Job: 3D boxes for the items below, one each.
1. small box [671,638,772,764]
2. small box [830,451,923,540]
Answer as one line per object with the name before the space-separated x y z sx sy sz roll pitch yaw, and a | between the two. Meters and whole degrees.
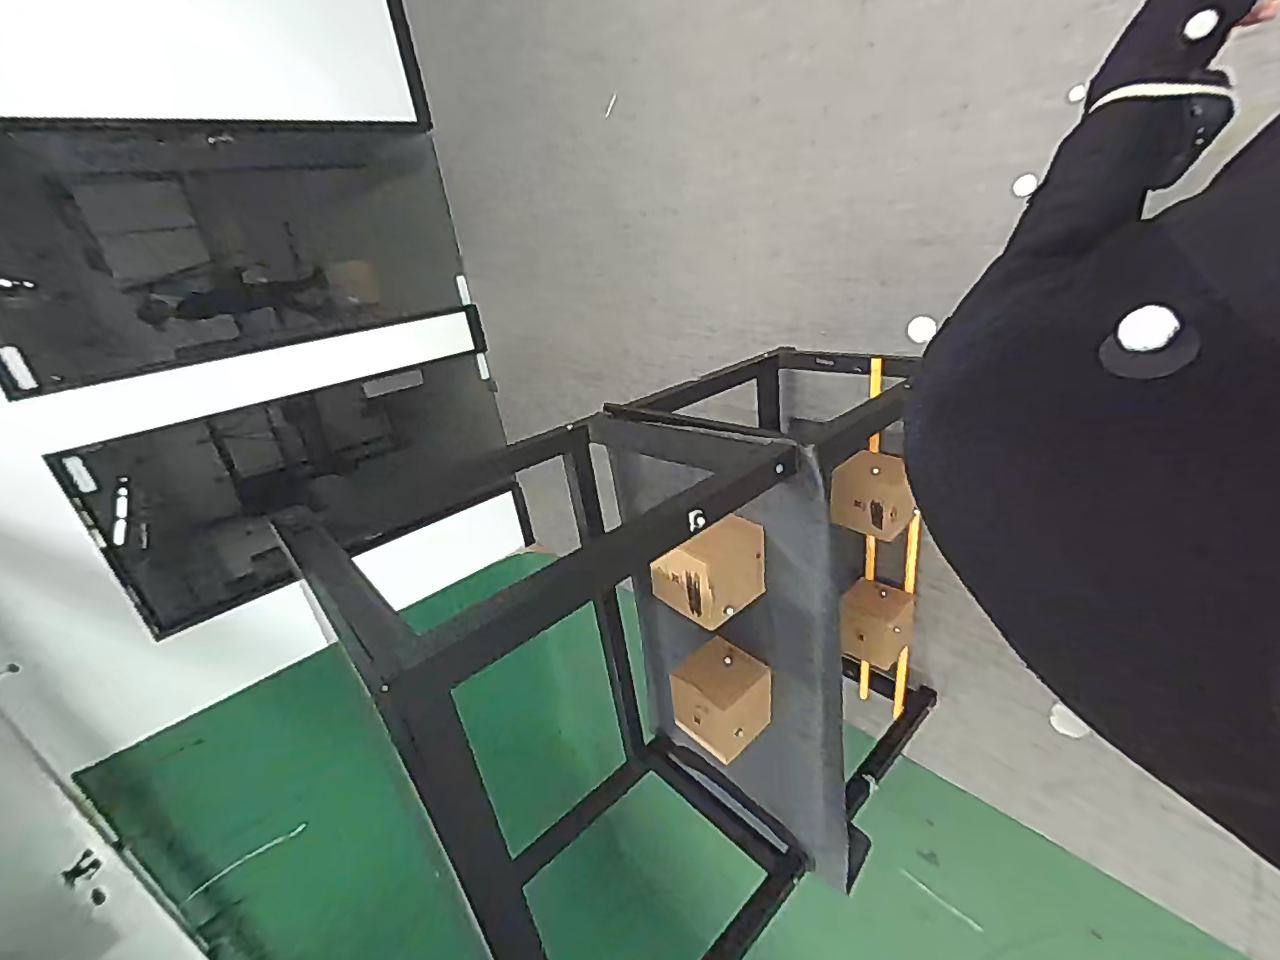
small box | 0.194 0.510 1.268 0.168 0.176 0.179 21 127 44
small box | 0.646 0.035 1.476 0.179 0.176 0.168 21 127 44
